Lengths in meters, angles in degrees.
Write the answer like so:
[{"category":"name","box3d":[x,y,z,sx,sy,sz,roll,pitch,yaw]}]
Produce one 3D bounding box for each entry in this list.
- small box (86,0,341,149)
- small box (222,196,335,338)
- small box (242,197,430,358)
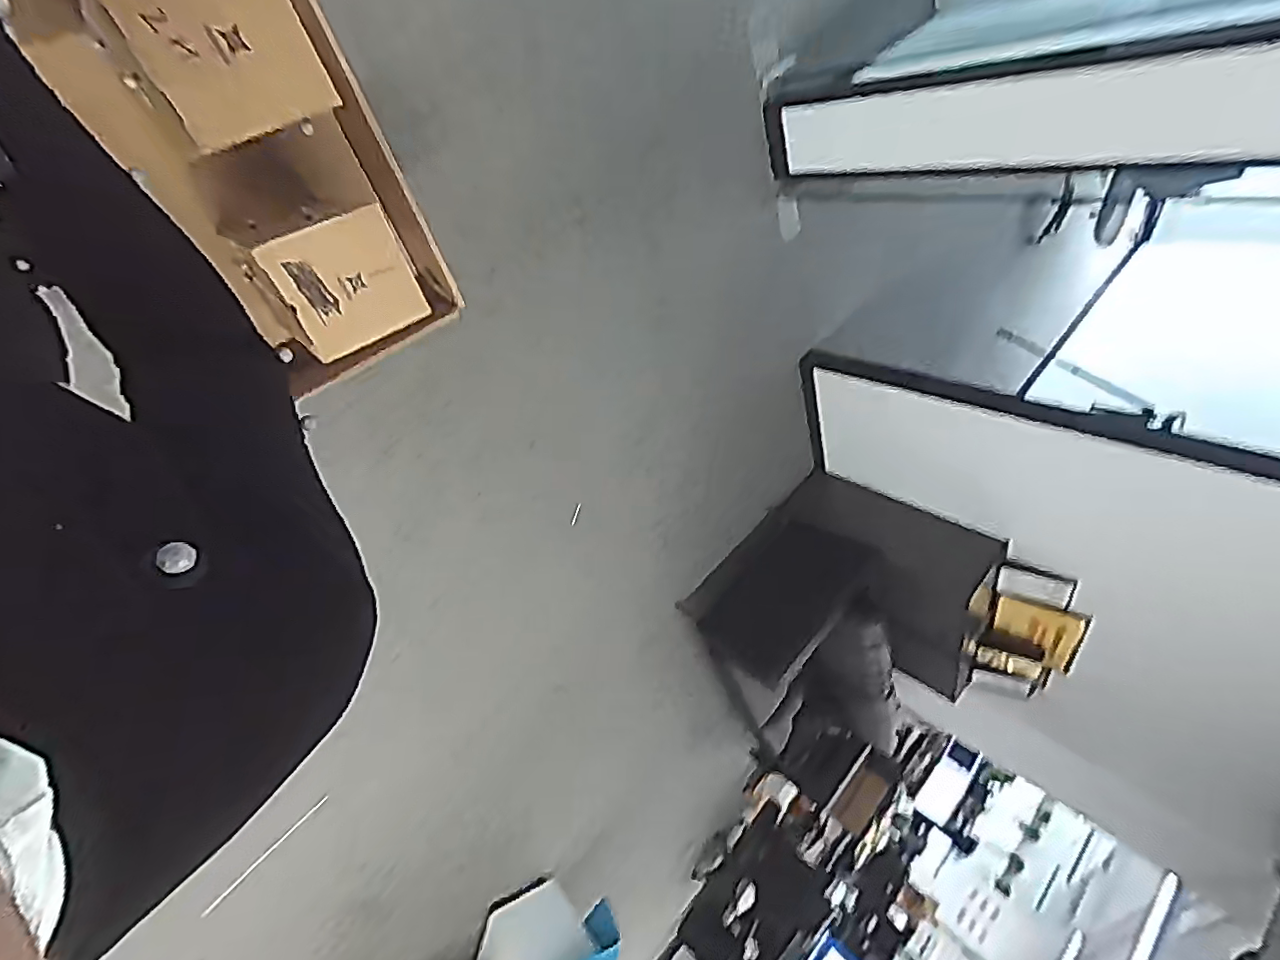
[{"category":"small box","box3d":[-0.502,-0.512,0.640,0.179,0.176,0.168,-39,133,-23]},{"category":"small box","box3d":[-0.559,-0.366,0.913,0.179,0.176,0.168,-37,133,-23]},{"category":"small box","box3d":[-0.453,-0.306,0.803,0.179,0.176,0.168,-37,133,-24]}]
